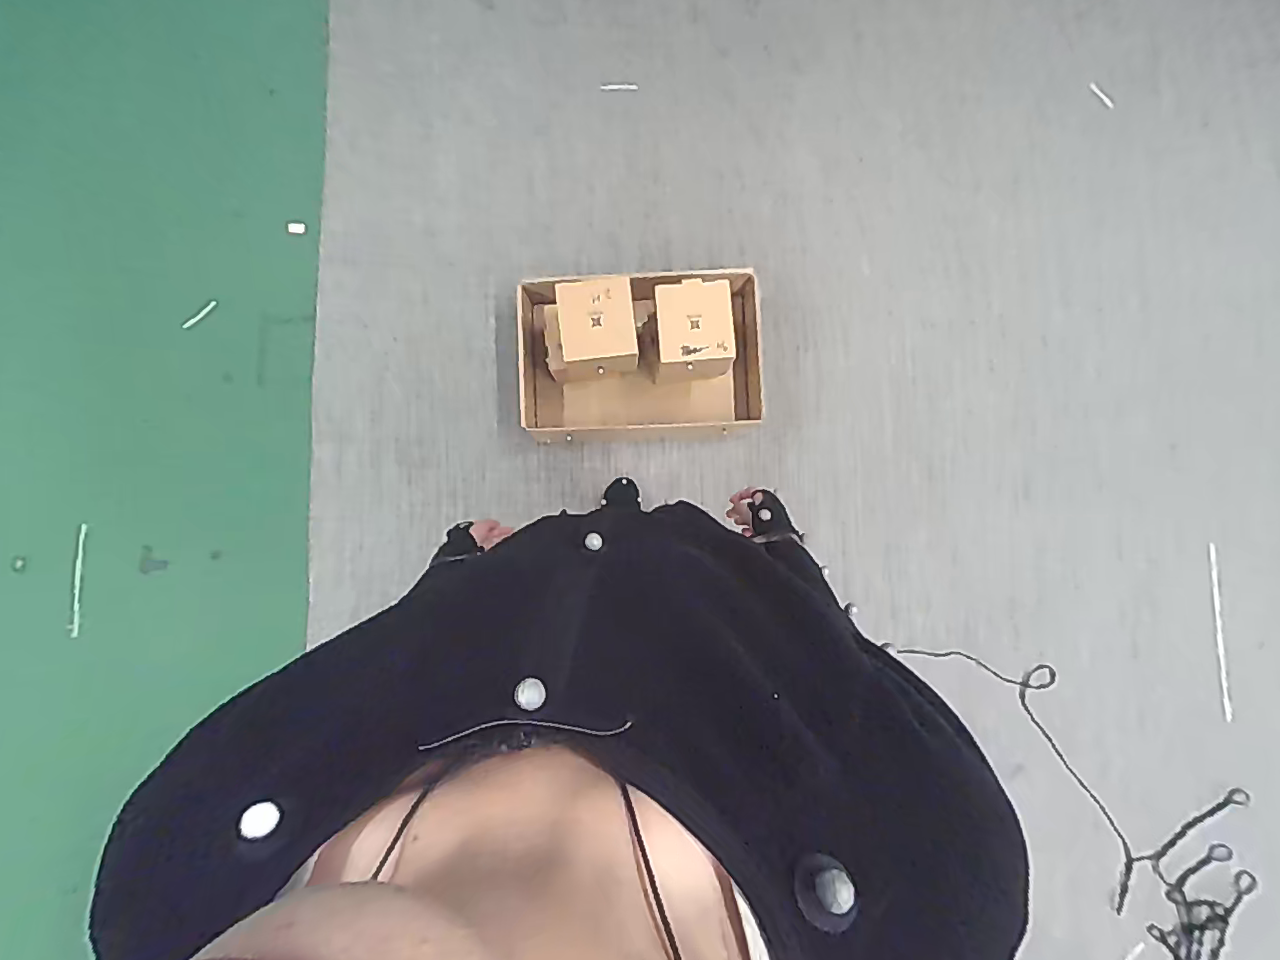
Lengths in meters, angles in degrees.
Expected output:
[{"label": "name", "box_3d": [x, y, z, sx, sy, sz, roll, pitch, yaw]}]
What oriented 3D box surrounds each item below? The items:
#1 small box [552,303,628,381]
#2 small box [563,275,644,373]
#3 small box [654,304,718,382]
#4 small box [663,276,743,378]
[{"label": "small box", "box_3d": [-0.127, -0.361, 1.422, 0.179, 0.176, 0.168, -5, 88, 0]}, {"label": "small box", "box_3d": [-0.080, -0.352, 1.258, 0.168, 0.176, 0.179, -7, 88, -1]}, {"label": "small box", "box_3d": [0.136, -0.361, 1.415, 0.179, 0.176, 0.168, -8, 87, 2]}, {"label": "small box", "box_3d": [0.139, -0.346, 1.250, 0.168, 0.176, 0.179, -5, 87, 3]}]
